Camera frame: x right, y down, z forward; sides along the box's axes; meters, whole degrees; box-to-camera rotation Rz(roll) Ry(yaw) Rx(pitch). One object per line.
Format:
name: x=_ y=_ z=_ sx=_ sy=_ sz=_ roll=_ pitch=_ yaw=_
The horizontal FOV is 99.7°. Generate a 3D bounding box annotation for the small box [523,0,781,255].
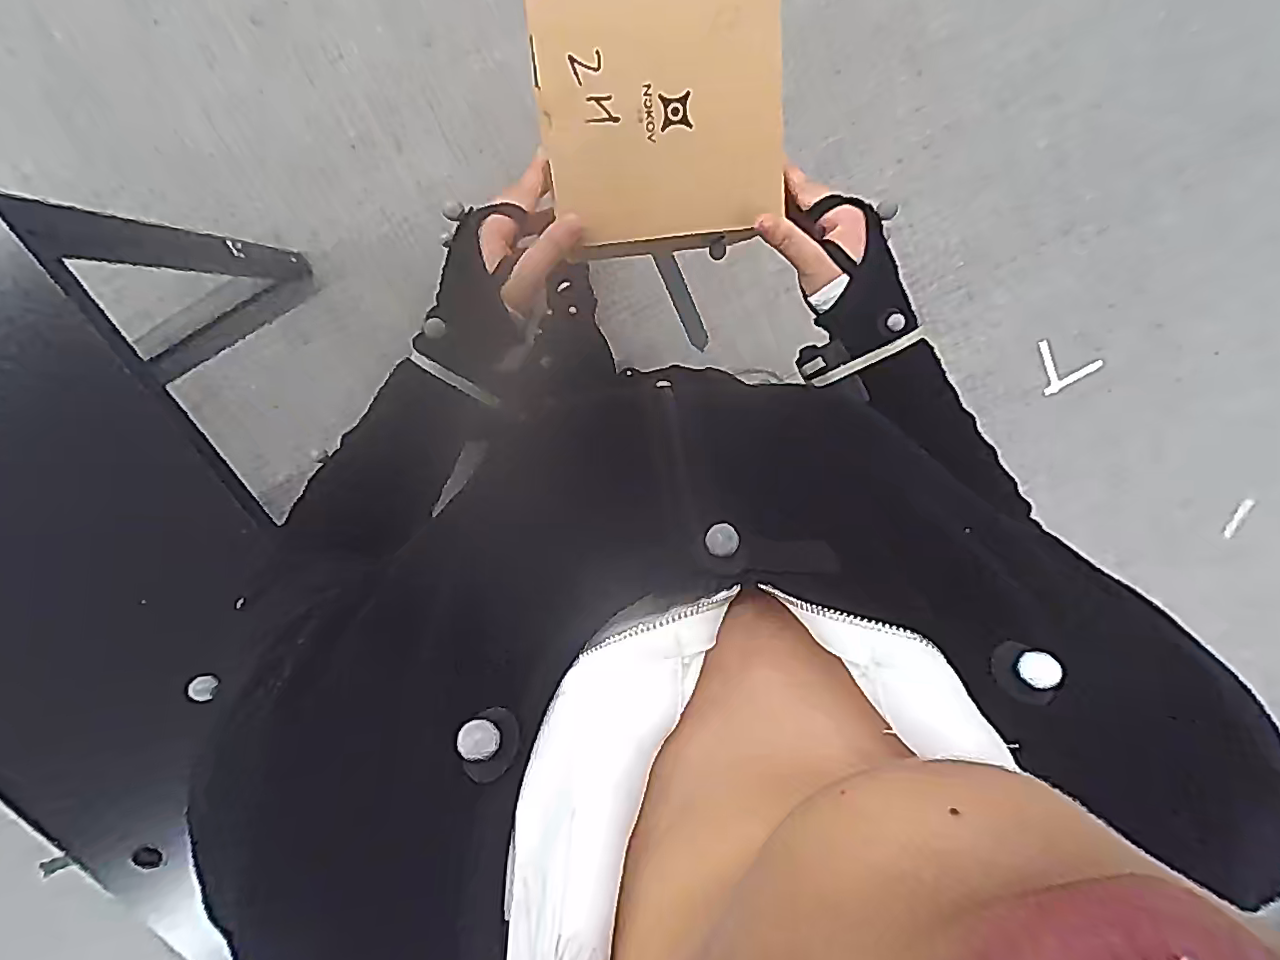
small box: x=0.008 y=-0.291 z=0.459 sx=0.179 sy=0.176 sz=0.168 roll=-7 pitch=109 yaw=-2
